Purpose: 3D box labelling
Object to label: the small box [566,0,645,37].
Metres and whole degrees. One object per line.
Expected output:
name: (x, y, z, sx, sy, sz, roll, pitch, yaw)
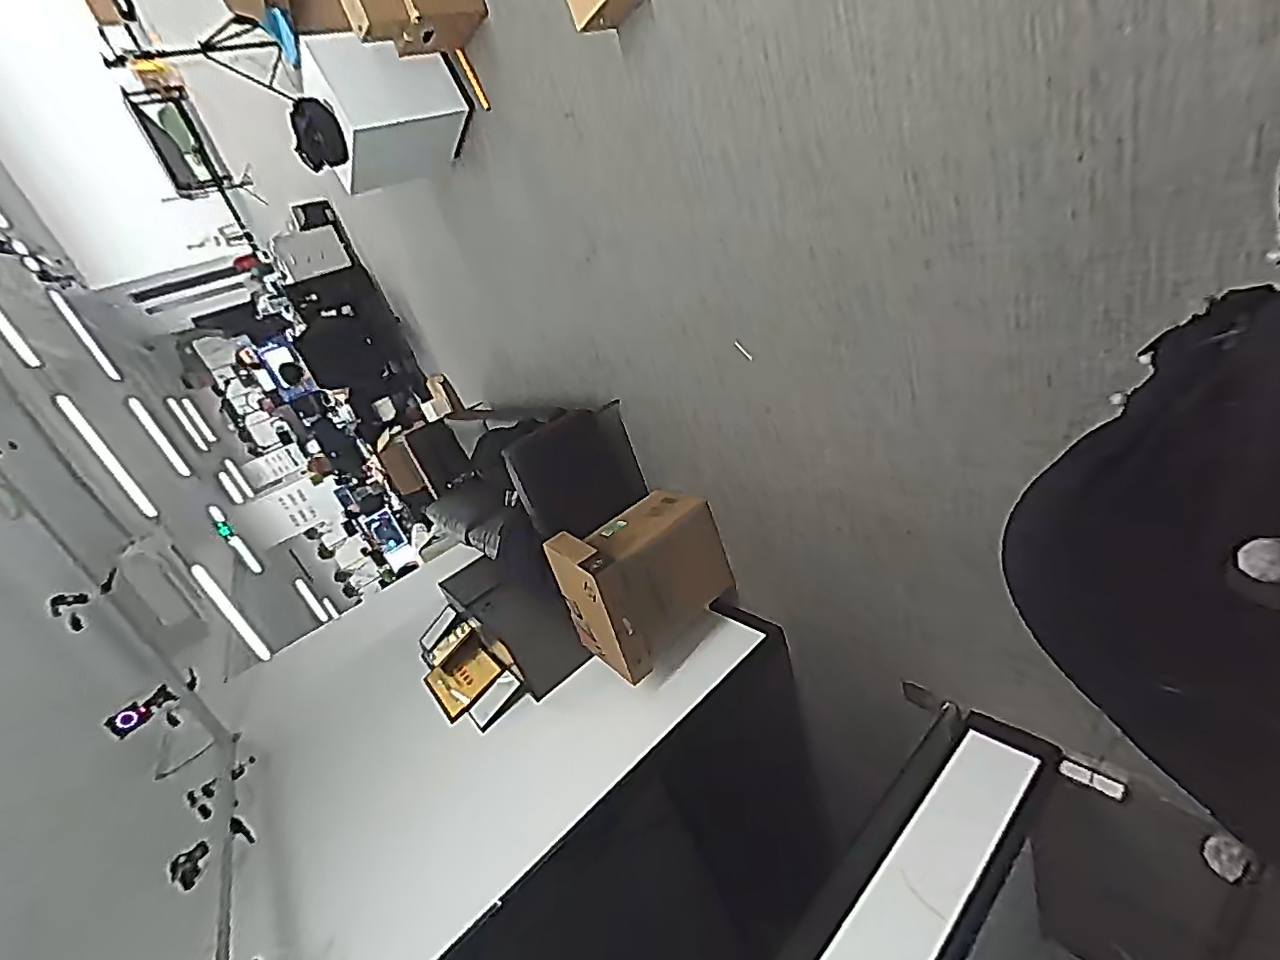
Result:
small box: (-0.112, -1.478, 1.626, 0.179, 0.176, 0.168, 10, 127, 54)
